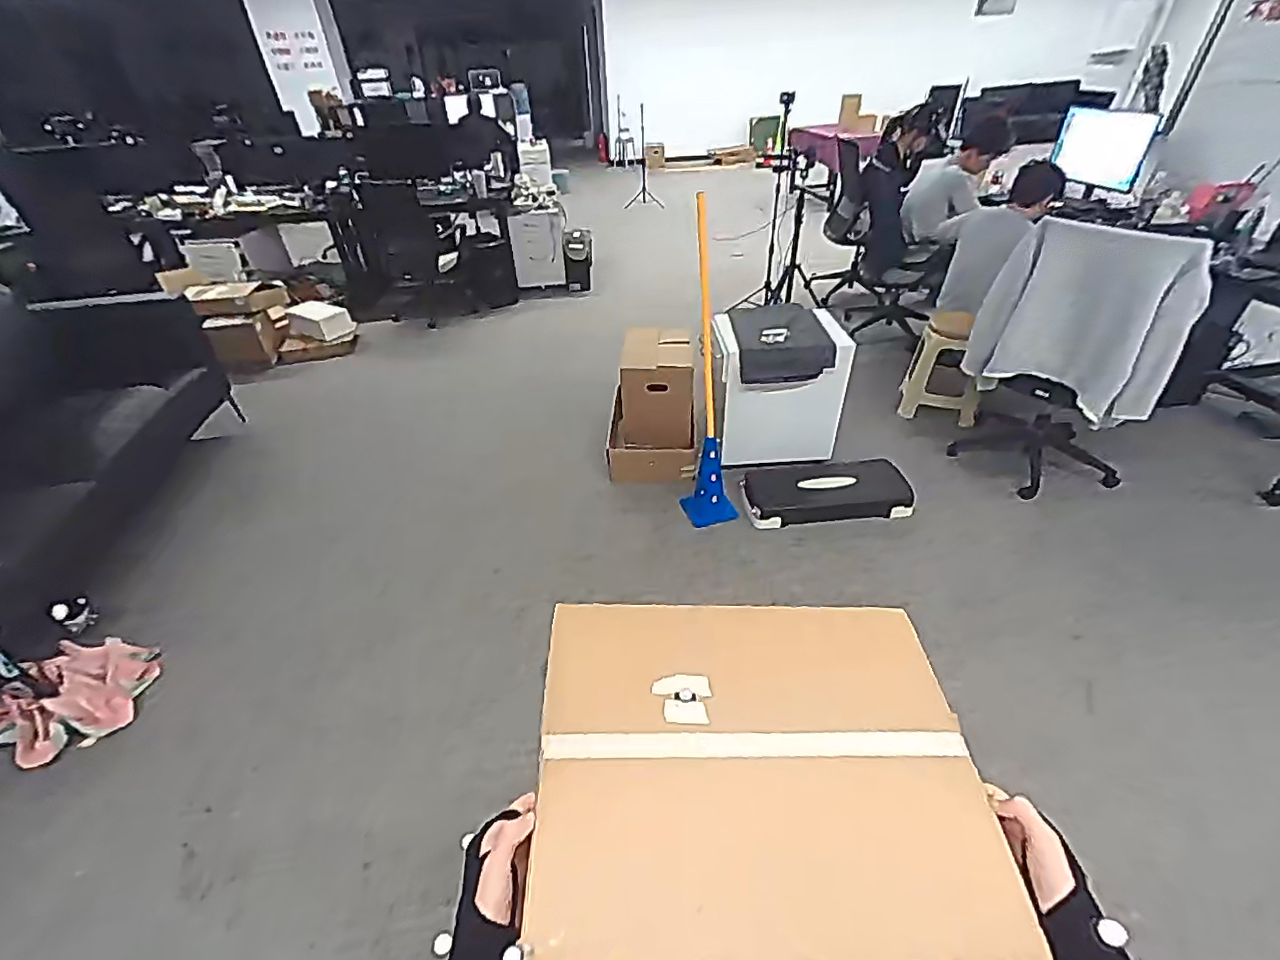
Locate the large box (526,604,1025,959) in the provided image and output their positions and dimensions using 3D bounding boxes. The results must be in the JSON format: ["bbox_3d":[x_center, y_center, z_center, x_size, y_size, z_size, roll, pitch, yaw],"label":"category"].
[{"bbox_3d":[0.102,0.360,0.627,0.408,0.320,0.320,1,45,-2],"label":"large box"}]
